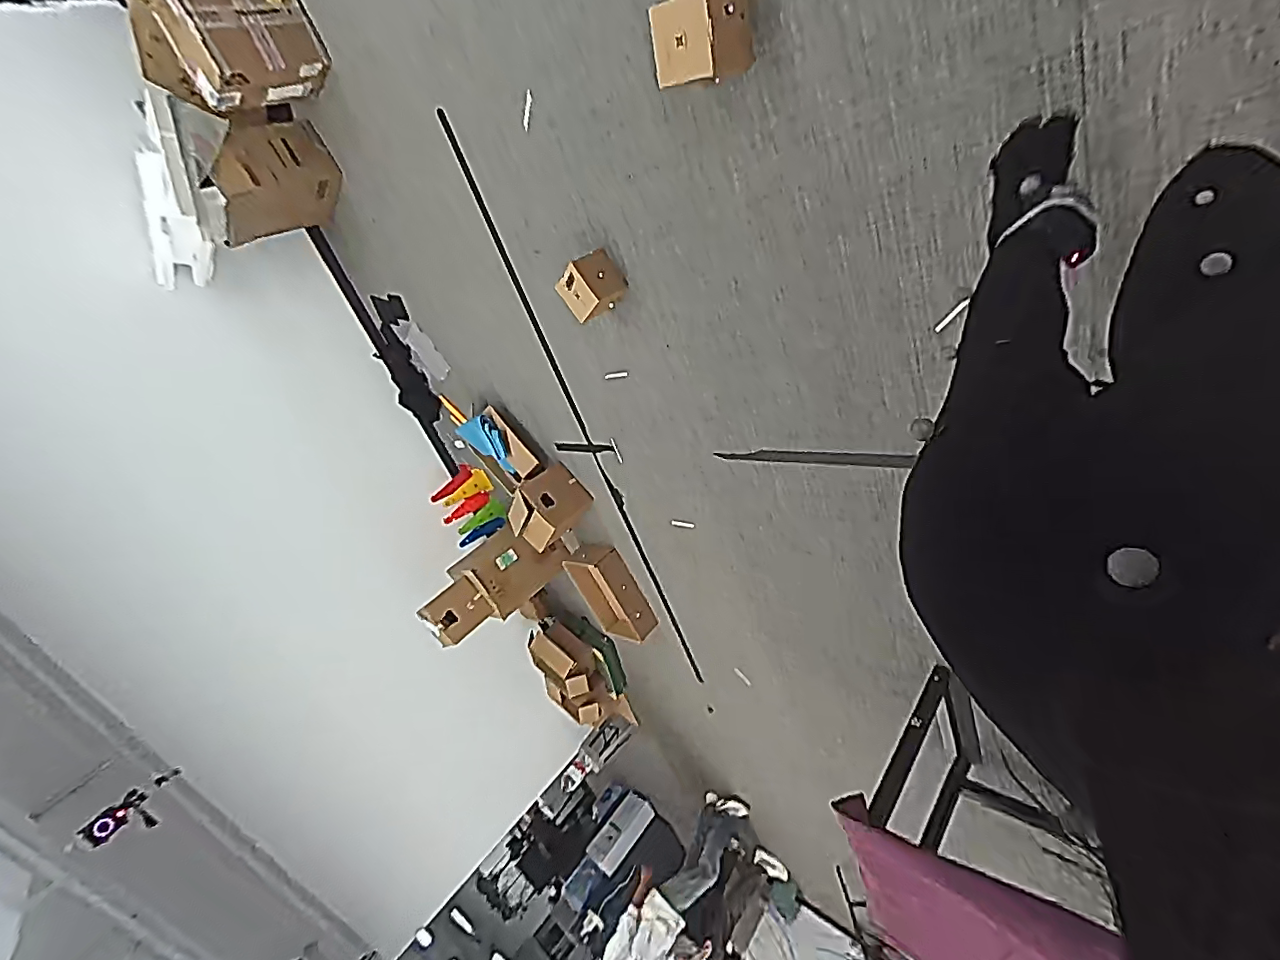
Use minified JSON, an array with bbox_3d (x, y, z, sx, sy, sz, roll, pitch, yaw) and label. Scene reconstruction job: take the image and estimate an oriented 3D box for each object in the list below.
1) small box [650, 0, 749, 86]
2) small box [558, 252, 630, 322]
[{"bbox_3d":[0.155,-1.095,1.328,0.179,0.176,0.168,19,134,40],"label":"small box"},{"bbox_3d":[-0.173,-0.742,2.056,0.179,0.176,0.168,53,147,-5],"label":"small box"}]
